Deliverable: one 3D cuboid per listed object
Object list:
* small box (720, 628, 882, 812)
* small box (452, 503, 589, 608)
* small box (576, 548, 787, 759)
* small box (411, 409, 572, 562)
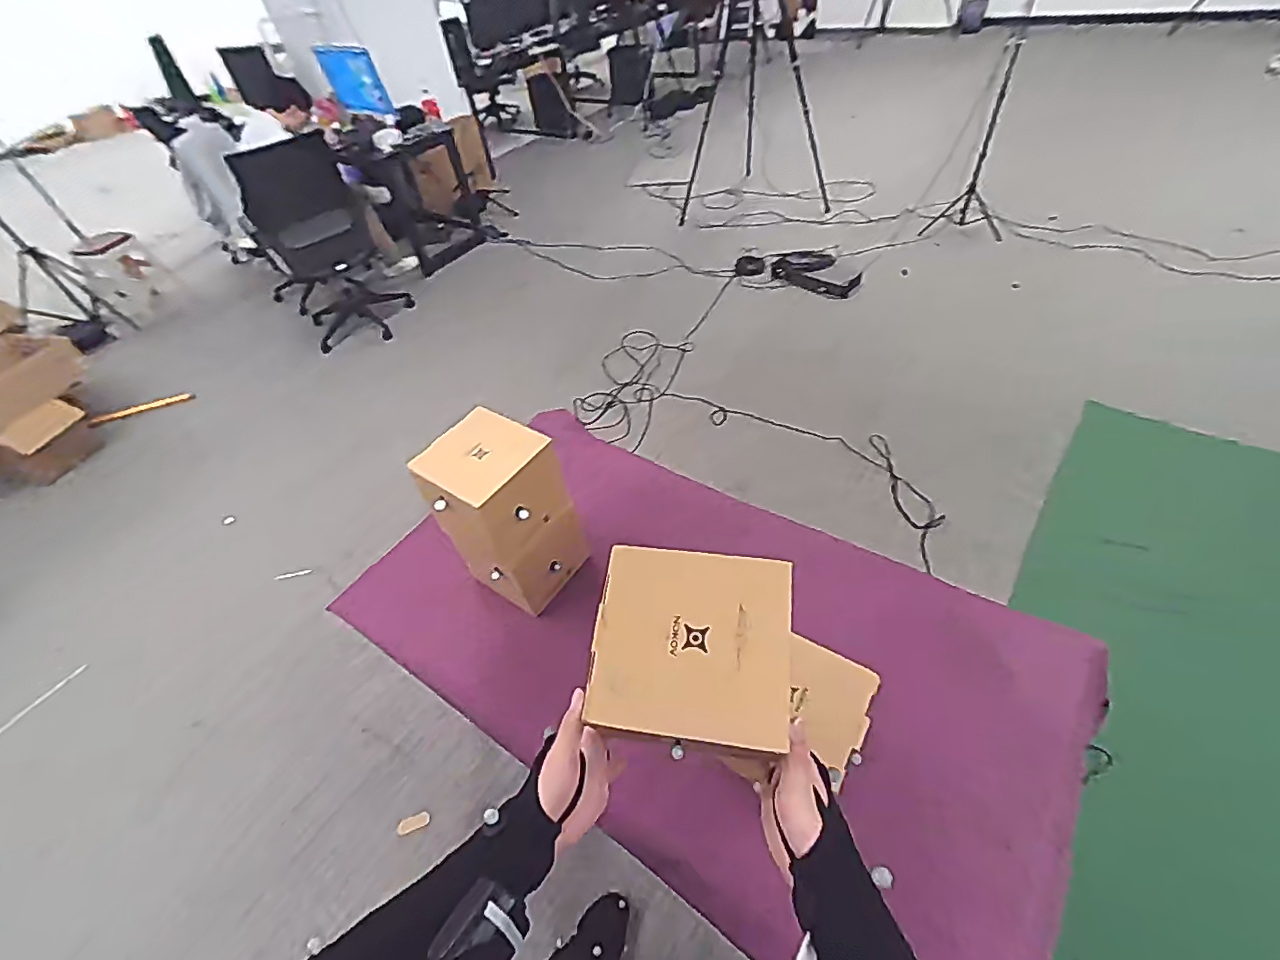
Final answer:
[{"bbox_3d":[0.214,0.338,0.769,0.179,0.176,0.168,23,55,27],"label":"small box"},{"bbox_3d":[-0.219,0.120,1.040,0.179,0.176,0.168,25,56,28],"label":"small box"},{"bbox_3d":[0.050,0.184,0.559,0.179,0.176,0.168,5,62,9],"label":"small box"},{"bbox_3d":[-0.240,0.013,0.919,0.179,0.176,0.168,24,56,28],"label":"small box"}]
